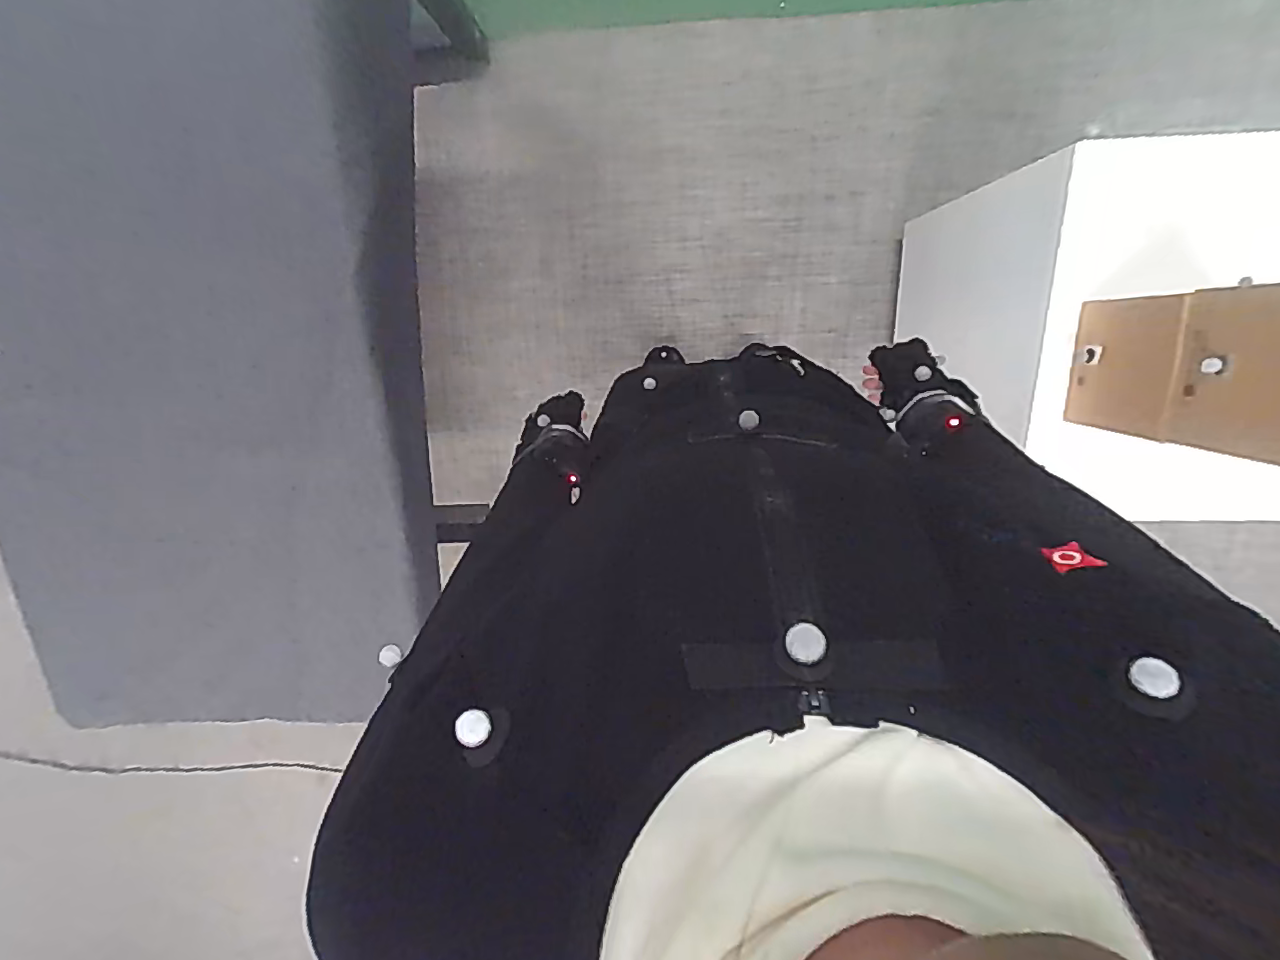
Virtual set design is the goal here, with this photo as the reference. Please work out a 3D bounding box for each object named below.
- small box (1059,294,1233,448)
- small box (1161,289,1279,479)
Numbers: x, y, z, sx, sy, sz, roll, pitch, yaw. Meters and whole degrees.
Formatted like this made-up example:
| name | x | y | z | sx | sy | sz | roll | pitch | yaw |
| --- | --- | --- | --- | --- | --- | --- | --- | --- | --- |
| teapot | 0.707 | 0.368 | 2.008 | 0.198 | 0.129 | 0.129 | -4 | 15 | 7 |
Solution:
| name | x | y | z | sx | sy | sz | roll | pitch | yaw |
| --- | --- | --- | --- | --- | --- | --- | --- | --- | --- |
| small box | 0.666 | -0.138 | 0.658 | 0.179 | 0.176 | 0.168 | -2 | 104 | 6 |
| small box | 0.657 | -0.096 | 0.500 | 0.179 | 0.176 | 0.168 | -4 | 105 | 4 |
